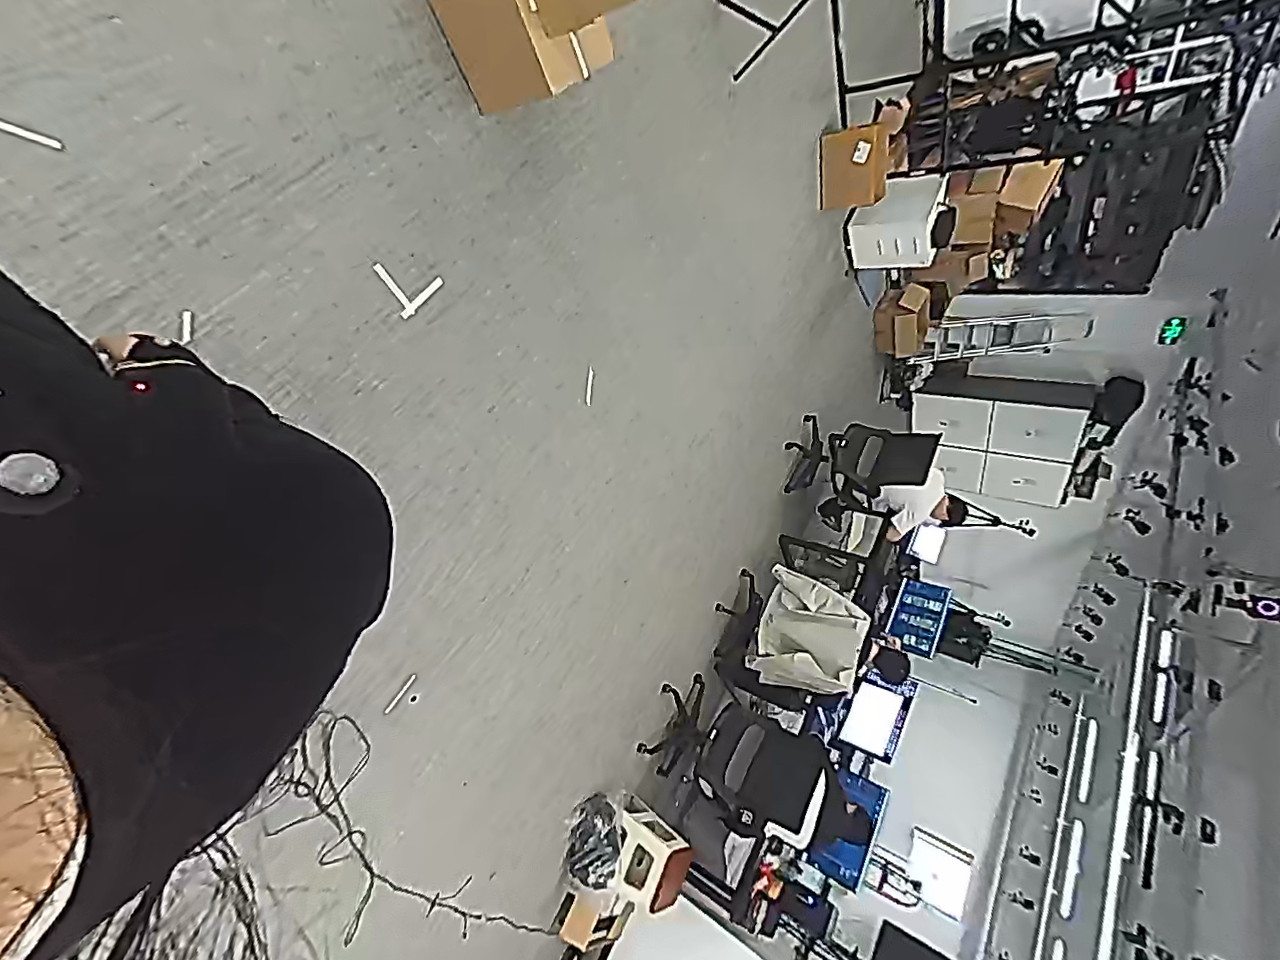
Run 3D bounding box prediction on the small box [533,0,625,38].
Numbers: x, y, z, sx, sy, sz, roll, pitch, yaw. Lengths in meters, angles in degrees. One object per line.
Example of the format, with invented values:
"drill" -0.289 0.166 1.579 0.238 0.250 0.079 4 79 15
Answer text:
"small box" -0.168 -1.247 1.341 0.168 0.176 0.179 -55 141 -25
